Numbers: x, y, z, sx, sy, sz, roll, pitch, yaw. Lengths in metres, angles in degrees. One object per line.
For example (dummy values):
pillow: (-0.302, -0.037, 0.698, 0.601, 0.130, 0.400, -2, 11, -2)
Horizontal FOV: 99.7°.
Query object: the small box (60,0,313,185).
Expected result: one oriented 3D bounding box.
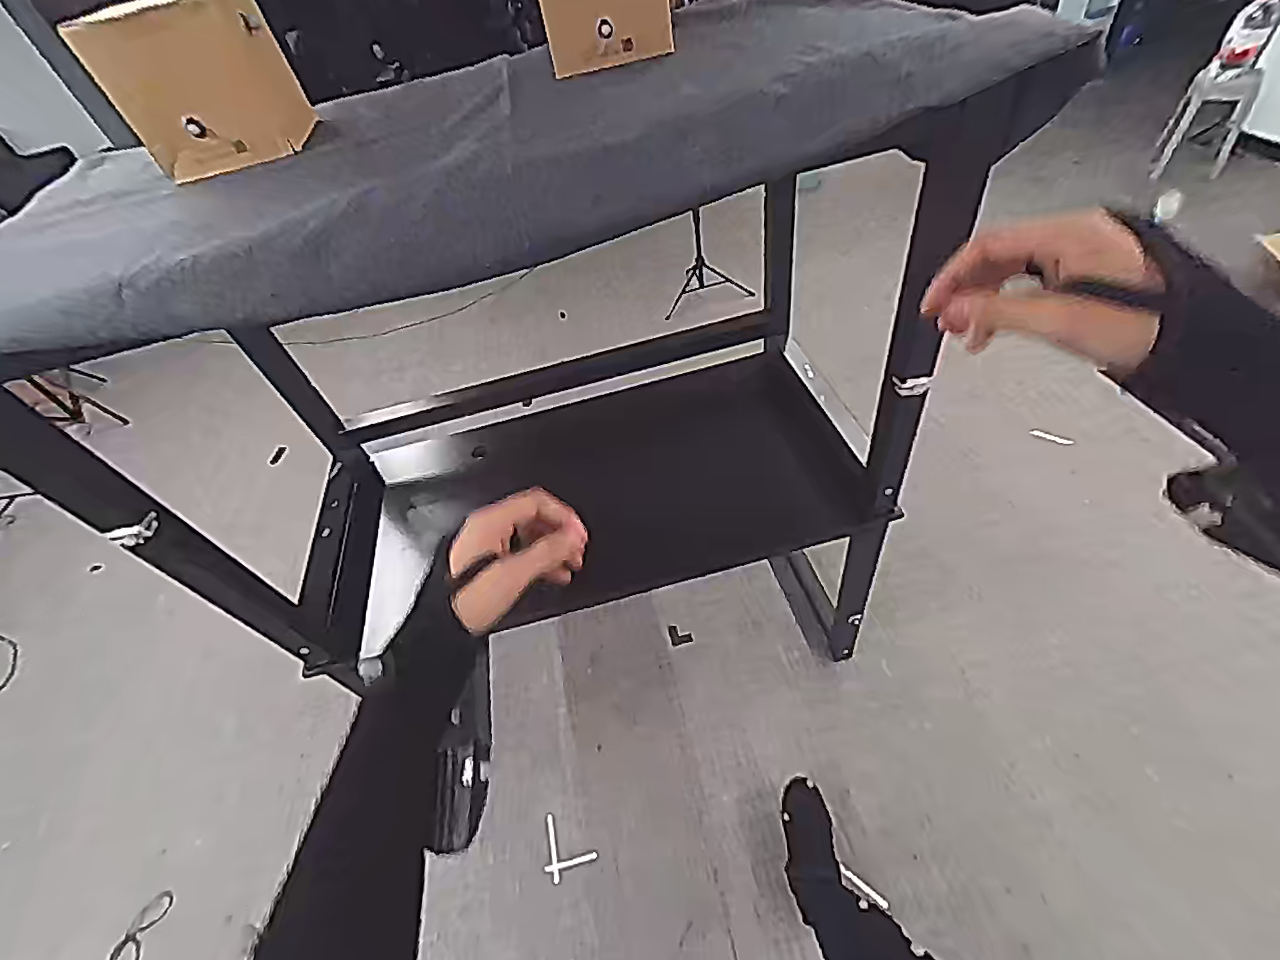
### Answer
small box: (-0.565, -0.515, 0.709, 0.168, 0.176, 0.179, -17, 49, -2)
